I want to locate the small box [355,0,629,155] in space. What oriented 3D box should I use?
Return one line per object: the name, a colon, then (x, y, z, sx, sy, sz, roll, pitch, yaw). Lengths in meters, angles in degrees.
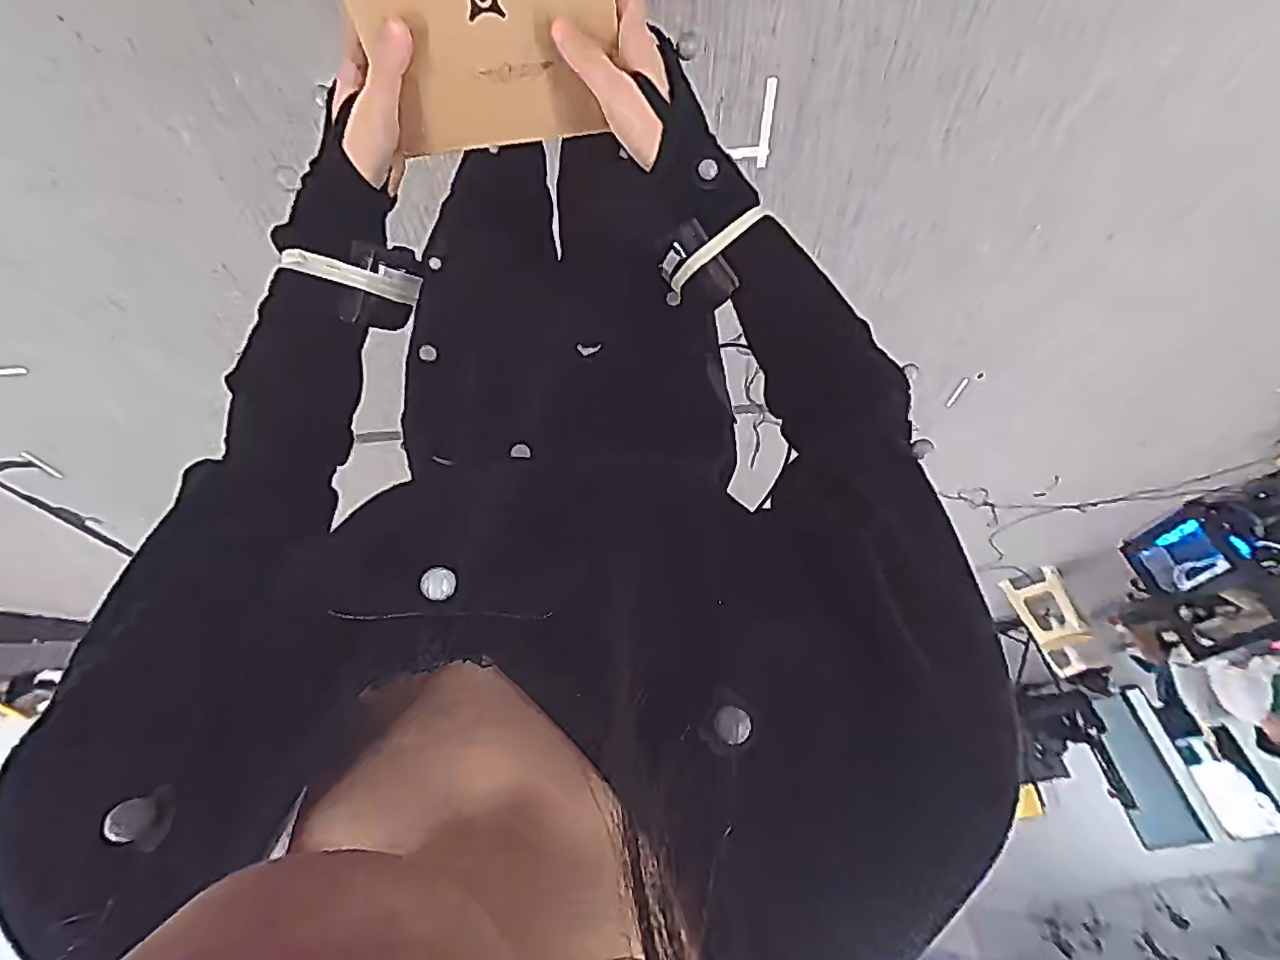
small box: (-0.105, -0.368, 0.382, 0.168, 0.176, 0.179, -8, 144, 0)
